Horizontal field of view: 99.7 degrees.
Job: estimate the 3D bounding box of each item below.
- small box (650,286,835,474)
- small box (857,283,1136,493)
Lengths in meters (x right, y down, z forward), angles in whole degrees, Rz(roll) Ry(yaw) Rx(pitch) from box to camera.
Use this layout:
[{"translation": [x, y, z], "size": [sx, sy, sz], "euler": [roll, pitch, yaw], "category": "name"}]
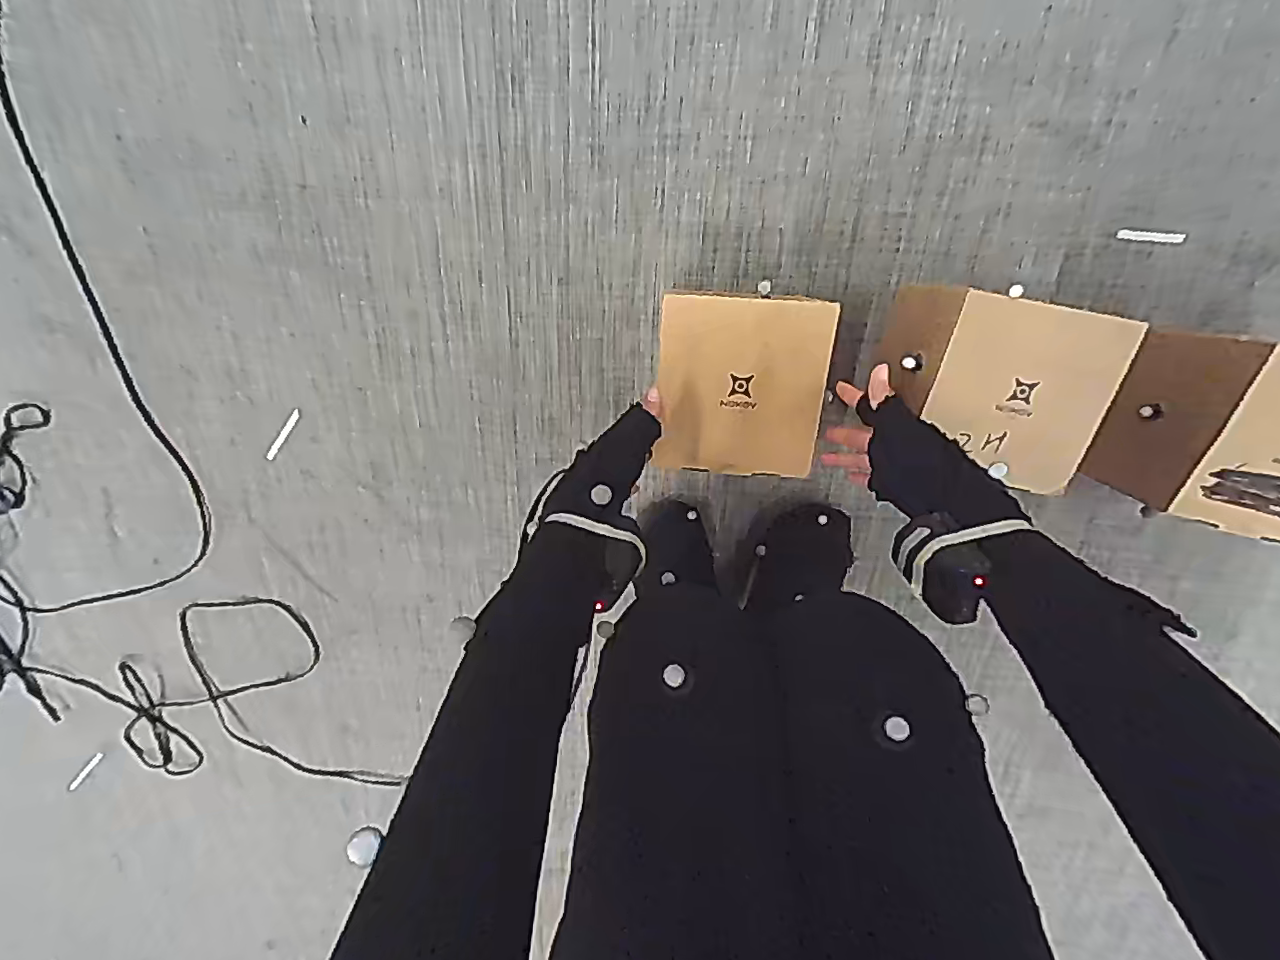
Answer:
[{"translation": [0.101, -0.122, 0.607], "size": [0.168, 0.176, 0.179], "euler": [4, 112, 3], "category": "small box"}, {"translation": [0.358, -0.110, 0.589], "size": [0.168, 0.176, 0.179], "euler": [12, 112, 2], "category": "small box"}]
